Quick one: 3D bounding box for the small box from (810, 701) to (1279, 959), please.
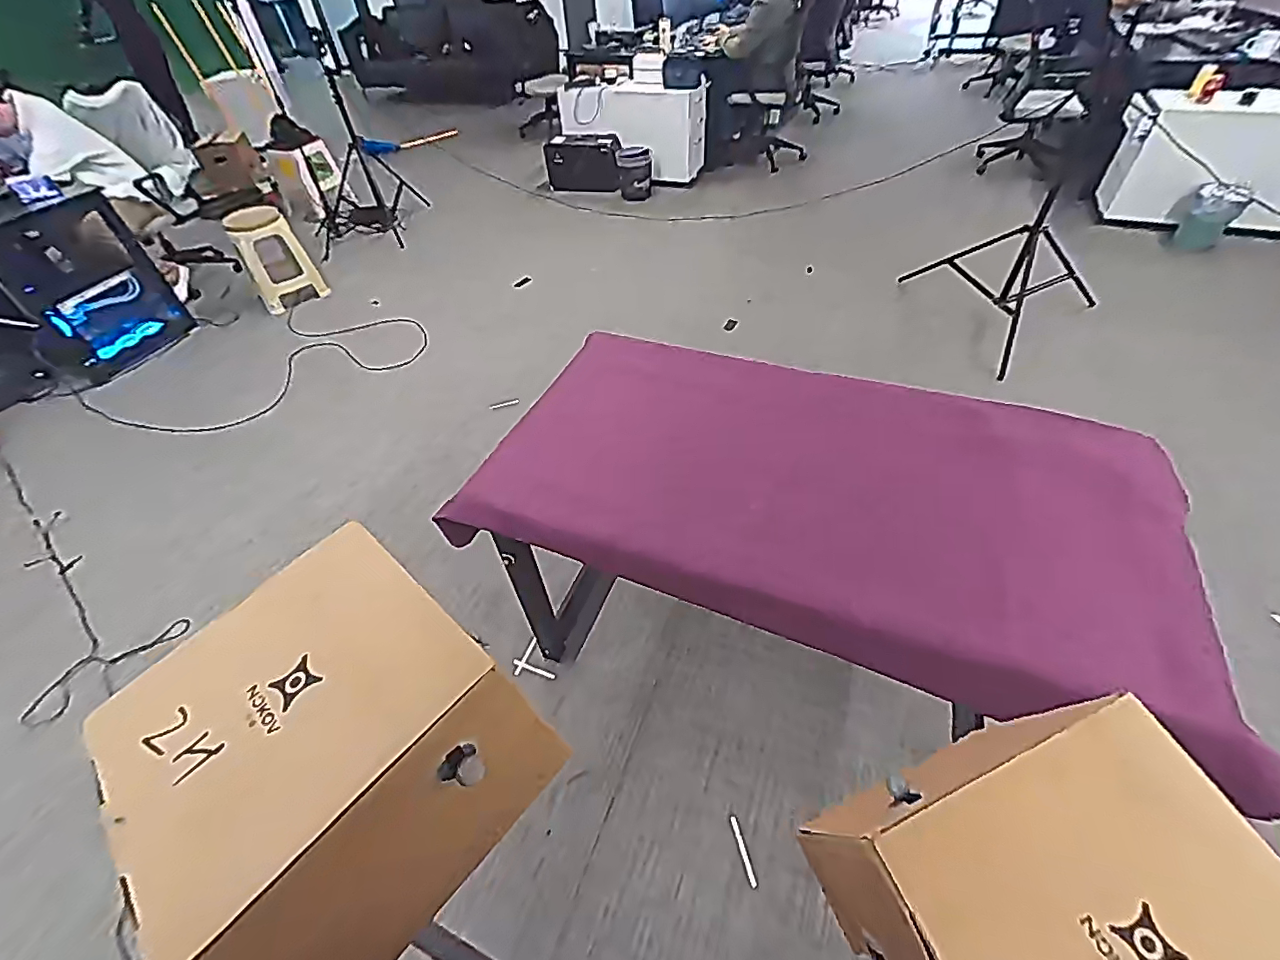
[{"bbox_3d":[0.230,0.255,0.317,0.179,0.176,0.168,-22,60,-10],"label":"small box"}]

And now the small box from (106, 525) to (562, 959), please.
[{"bbox_3d":[-0.170,0.170,0.353,0.168,0.176,0.179,30,62,33],"label":"small box"}]
